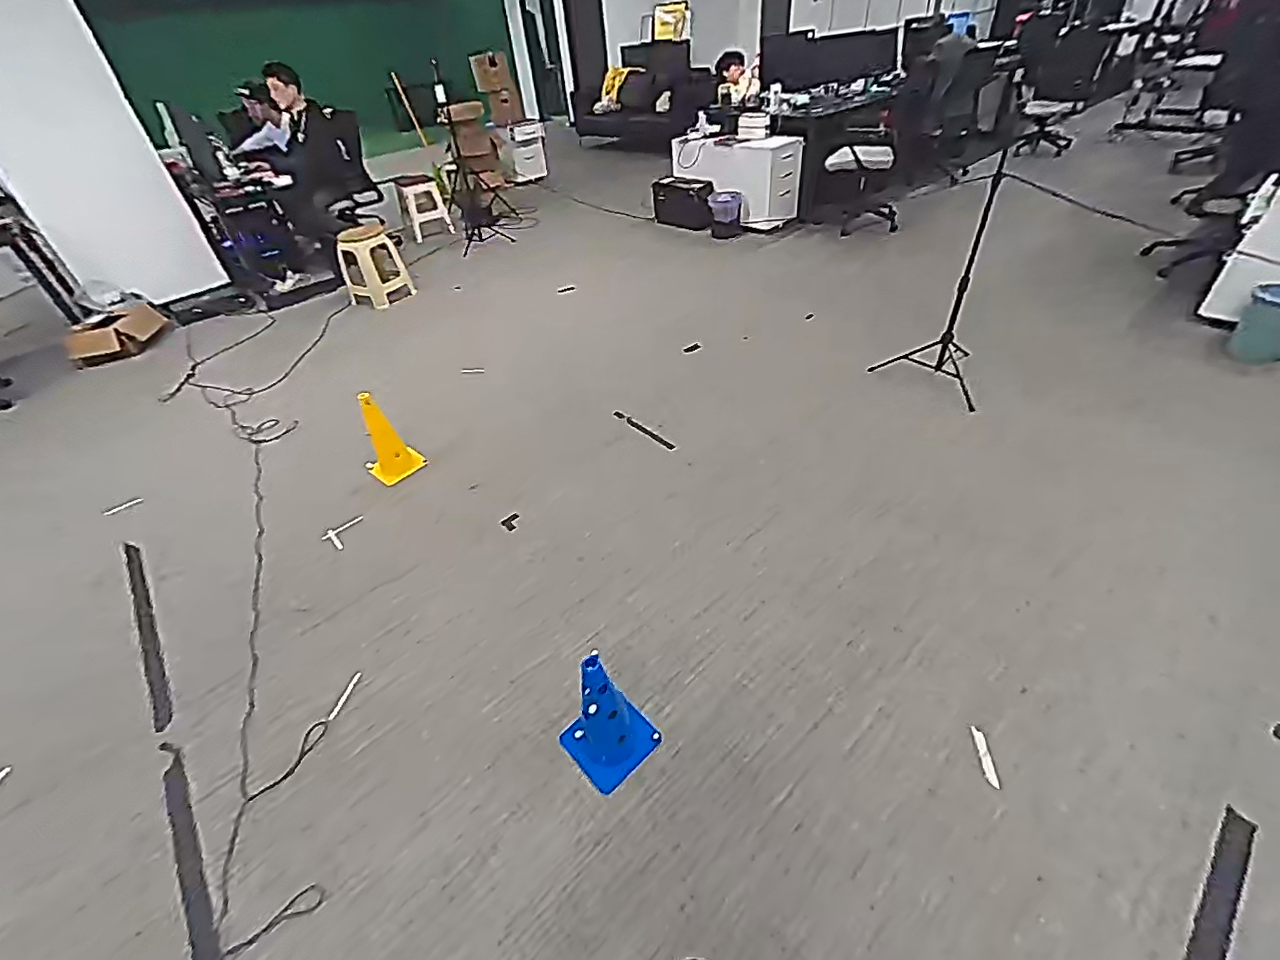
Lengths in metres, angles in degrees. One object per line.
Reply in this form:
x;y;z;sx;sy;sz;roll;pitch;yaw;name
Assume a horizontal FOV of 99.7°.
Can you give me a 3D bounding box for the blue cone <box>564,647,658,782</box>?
-0.090;0.518;1.267;0.192;0.380;0.193;-32;46;-28;blue cone
